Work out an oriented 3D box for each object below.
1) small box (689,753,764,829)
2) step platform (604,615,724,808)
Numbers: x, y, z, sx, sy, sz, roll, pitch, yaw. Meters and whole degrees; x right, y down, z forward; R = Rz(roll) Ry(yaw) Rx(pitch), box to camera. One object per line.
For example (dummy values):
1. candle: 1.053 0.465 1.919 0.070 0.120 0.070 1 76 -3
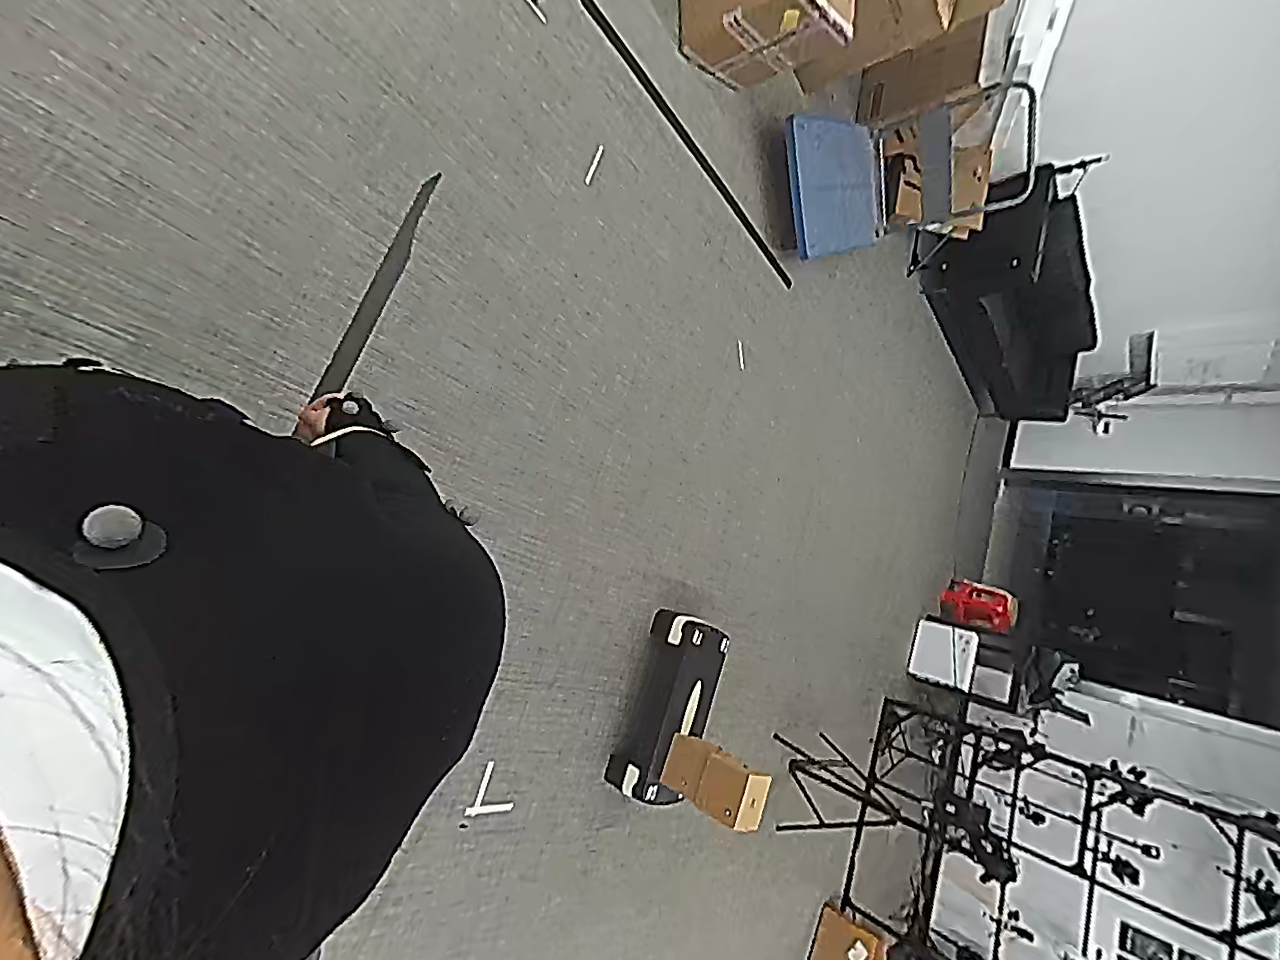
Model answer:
1. small box: 0.292 1.054 1.842 0.168 0.176 0.179 35 70 -43
2. step platform: 0.111 0.896 2.122 0.286 0.204 0.684 31 71 -44
